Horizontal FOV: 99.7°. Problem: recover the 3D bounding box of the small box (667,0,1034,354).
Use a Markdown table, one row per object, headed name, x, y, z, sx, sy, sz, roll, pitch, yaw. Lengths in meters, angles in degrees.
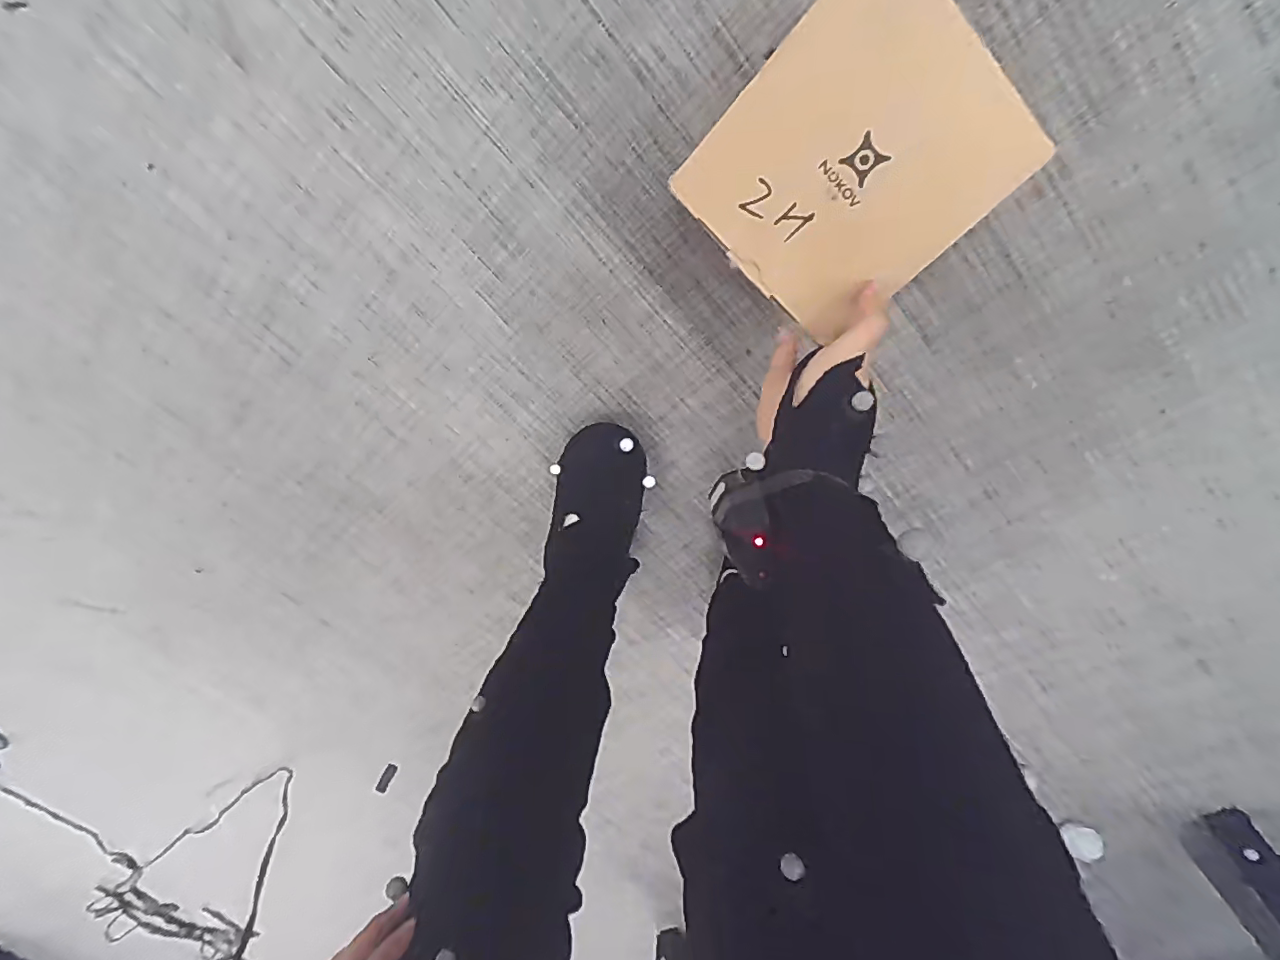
| name | x | y | z | sx | sy | sz | roll | pitch | yaw |
| --- | --- | --- | --- | --- | --- | --- | --- | --- | --- |
| small box | 0.141 | -0.236 | 0.421 | 0.168 | 0.176 | 0.179 | 41 | 117 | -14 |
